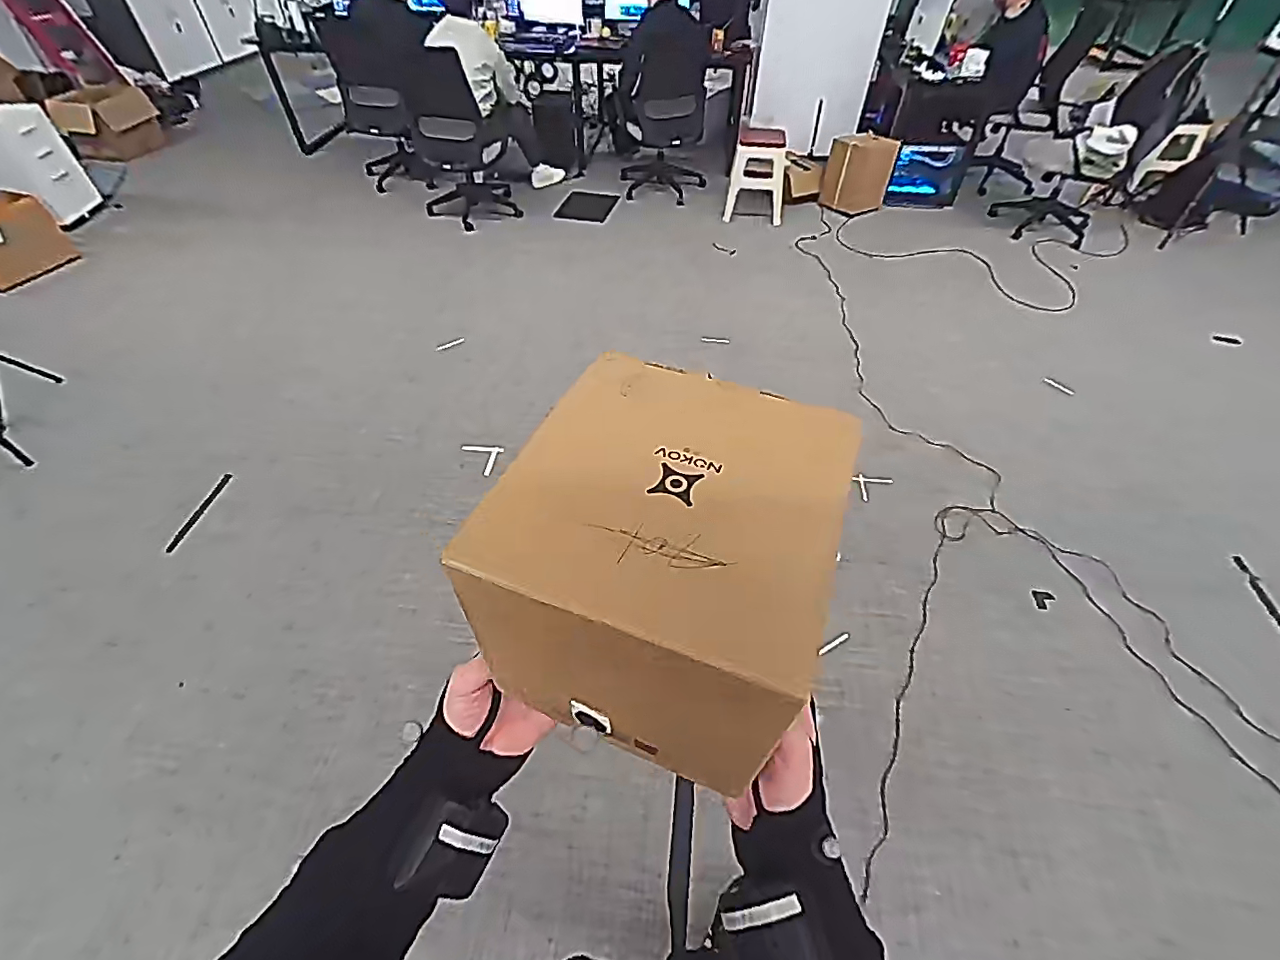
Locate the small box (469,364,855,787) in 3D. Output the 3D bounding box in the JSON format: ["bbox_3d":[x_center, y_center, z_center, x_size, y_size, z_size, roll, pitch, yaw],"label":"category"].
[{"bbox_3d":[0.021,0.059,0.345,0.168,0.176,0.179,16,49,13],"label":"small box"}]
